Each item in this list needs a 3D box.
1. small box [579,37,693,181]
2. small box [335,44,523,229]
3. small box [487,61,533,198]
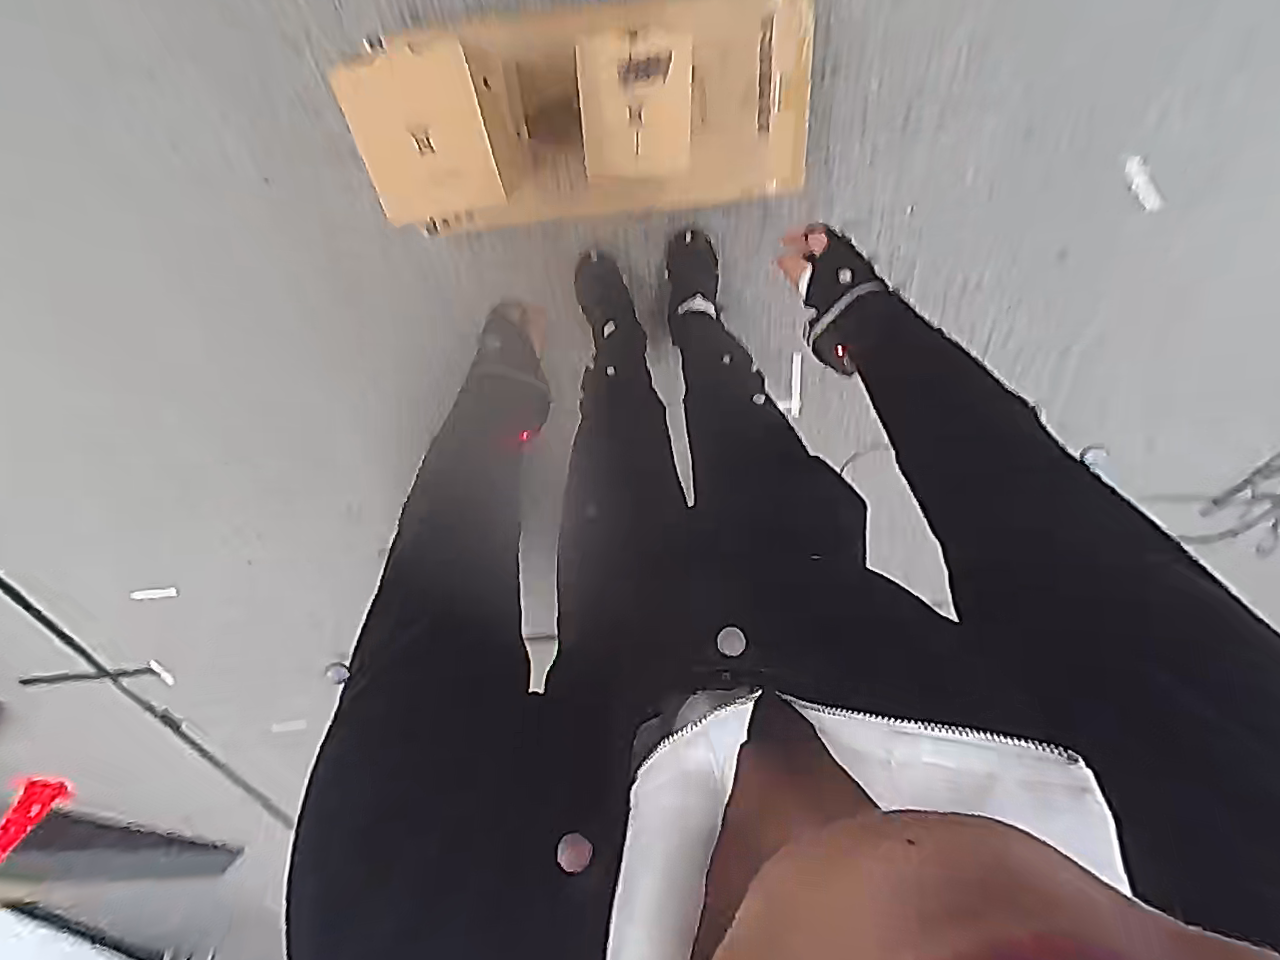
[{"bbox_3d":[-0.008,-0.593,0.872,0.168,0.176,0.179,-2,126,0],"label":"small box"},{"bbox_3d":[-0.271,-0.468,0.744,0.168,0.176,0.179,-10,126,5],"label":"small box"},{"bbox_3d":[-0.275,-0.564,0.876,0.168,0.176,0.179,-5,126,0],"label":"small box"}]
